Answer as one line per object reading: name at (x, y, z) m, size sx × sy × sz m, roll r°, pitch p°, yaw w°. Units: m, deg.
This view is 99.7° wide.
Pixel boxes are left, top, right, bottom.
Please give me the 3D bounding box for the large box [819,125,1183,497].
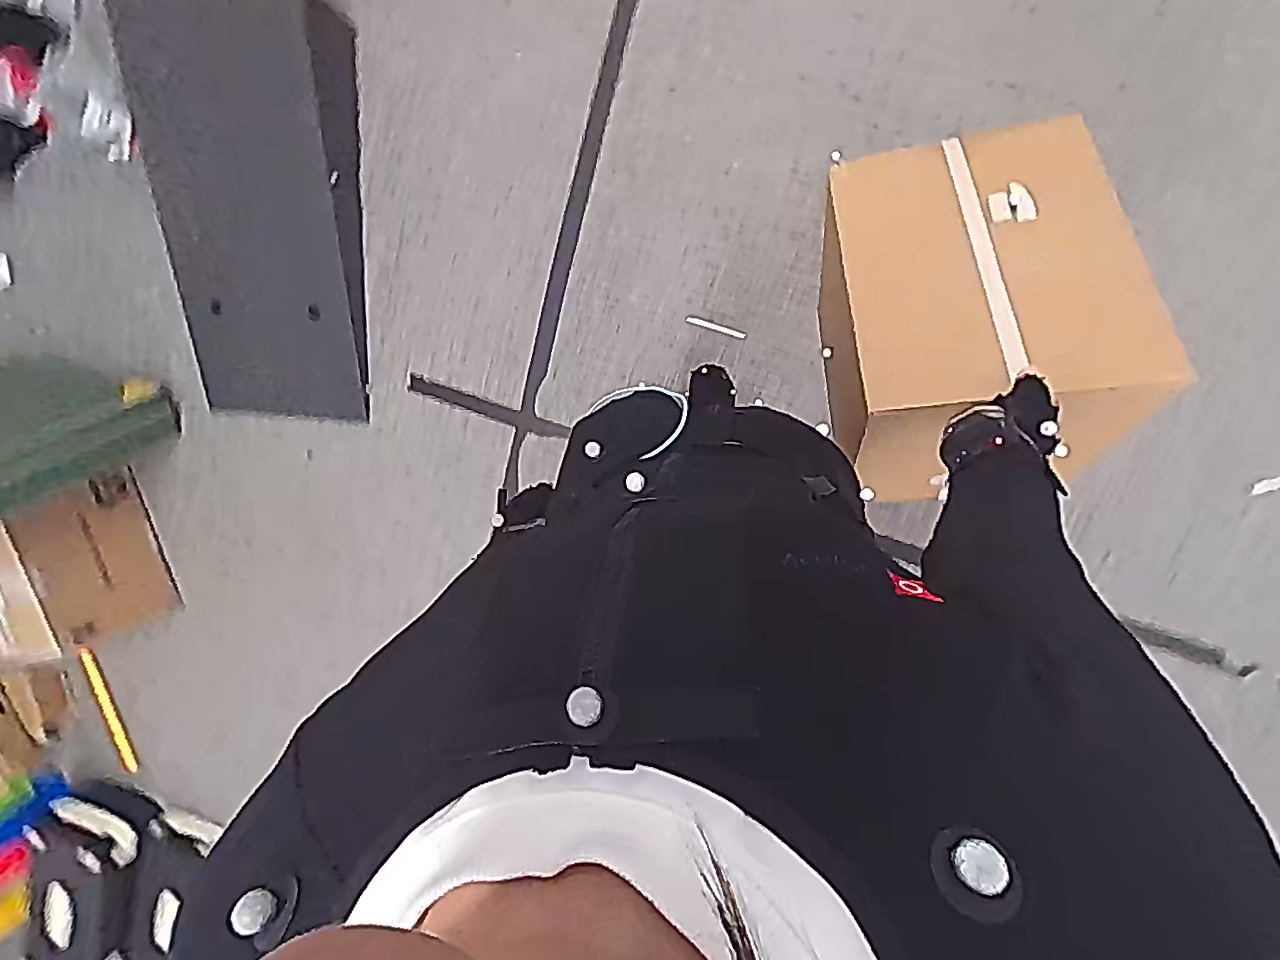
large box at (0.457, -0.220, 0.805) m, size 0.320 × 0.320 × 0.408 m, roll -4°, pitch 67°, yaw 12°
